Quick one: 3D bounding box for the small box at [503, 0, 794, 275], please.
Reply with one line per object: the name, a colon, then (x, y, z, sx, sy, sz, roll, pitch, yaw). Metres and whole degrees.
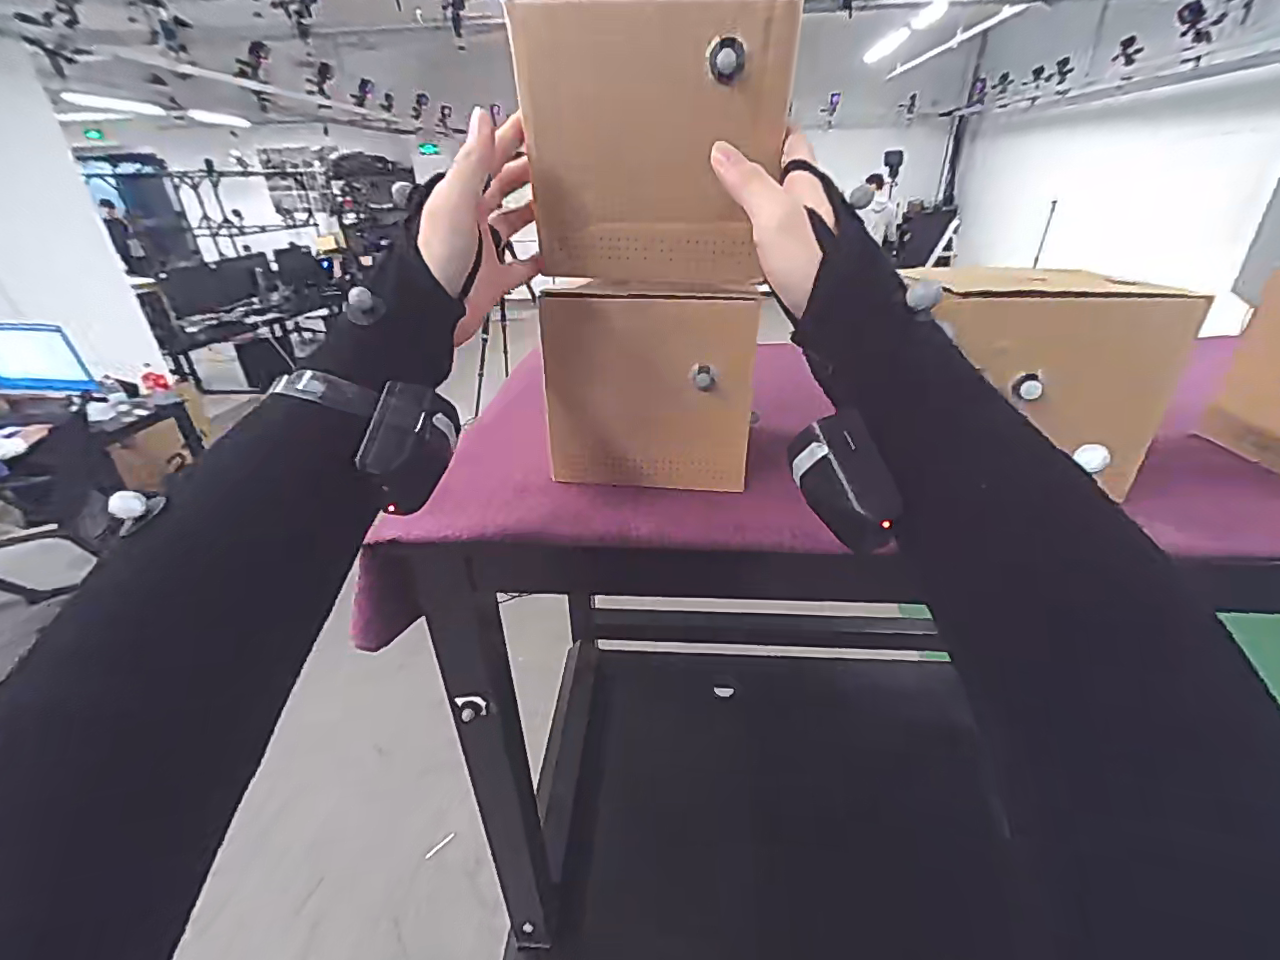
small box: (0.016, -0.268, 0.418, 0.179, 0.176, 0.168, 5, 40, 7)

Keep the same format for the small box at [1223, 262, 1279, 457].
small box: (0.653, -0.090, 0.442, 0.179, 0.176, 0.168, 0, 29, 5)

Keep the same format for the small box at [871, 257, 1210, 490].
small box: (0.317, -0.101, 0.483, 0.179, 0.176, 0.168, 3, 28, 8)
